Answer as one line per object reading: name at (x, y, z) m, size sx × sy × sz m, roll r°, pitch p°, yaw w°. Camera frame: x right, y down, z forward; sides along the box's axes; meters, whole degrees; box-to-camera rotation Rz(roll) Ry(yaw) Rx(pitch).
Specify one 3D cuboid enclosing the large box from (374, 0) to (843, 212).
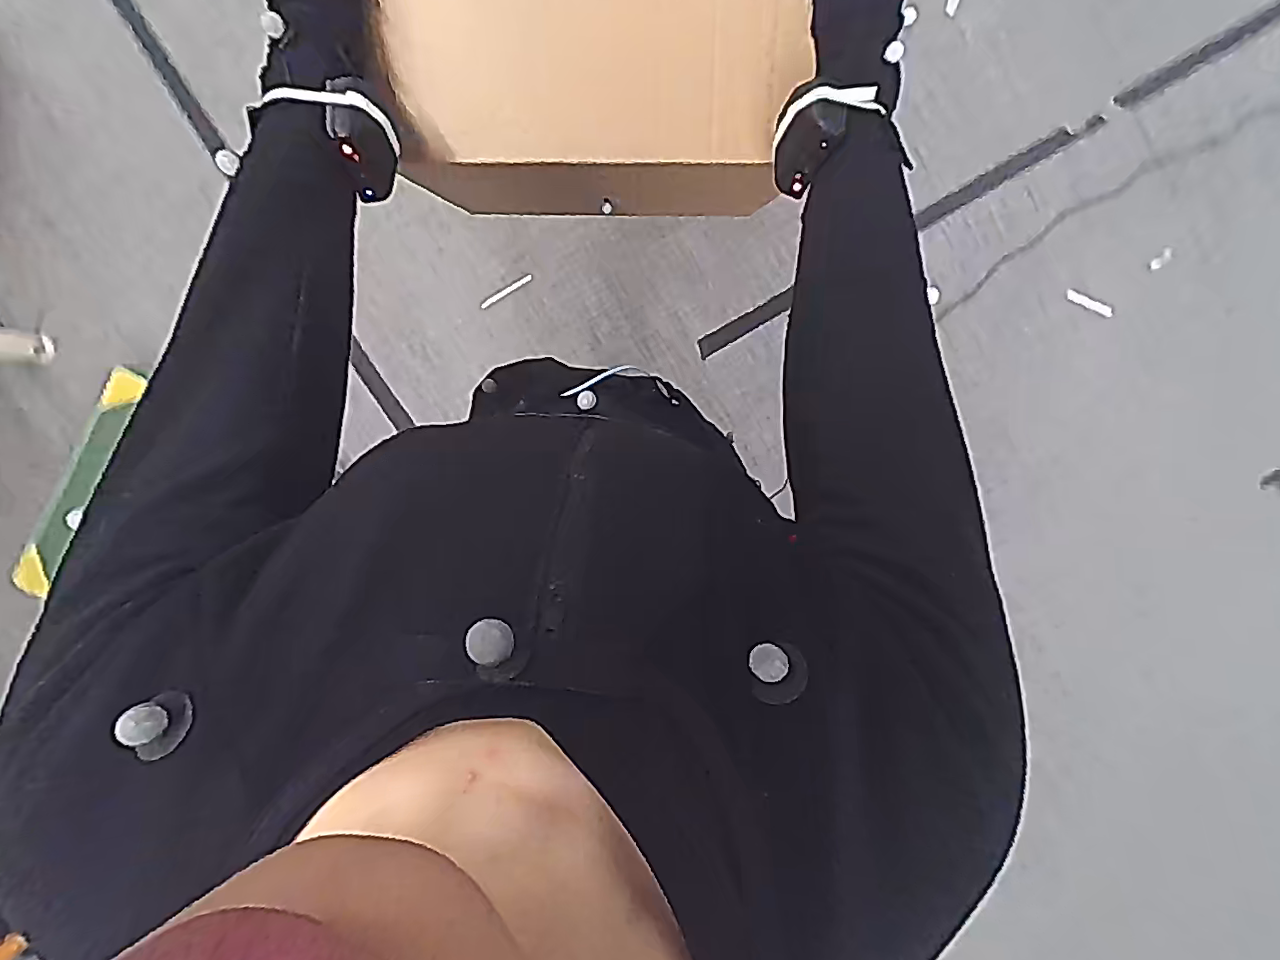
large box at (-0.025, -0.481, 0.587) m, size 0.408 × 0.320 × 0.320 m, roll 1°, pitch 107°, yaw 0°
